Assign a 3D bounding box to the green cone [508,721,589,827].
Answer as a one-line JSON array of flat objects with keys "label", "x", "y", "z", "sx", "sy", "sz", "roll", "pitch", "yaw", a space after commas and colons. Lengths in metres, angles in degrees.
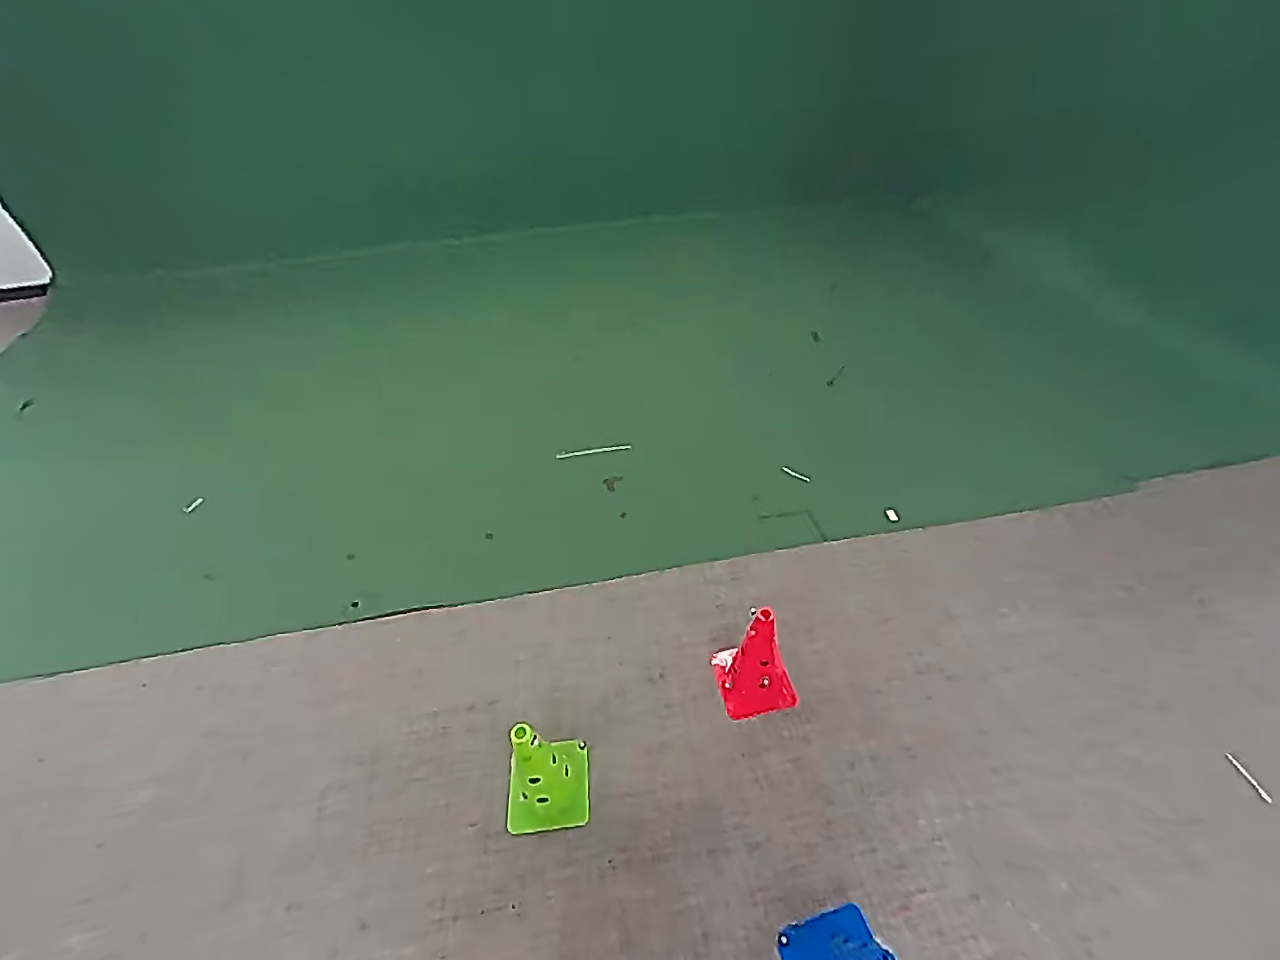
[{"label": "green cone", "x": -0.244, "y": 0.640, "z": 1.254, "sx": 0.200, "sy": 0.368, "sz": 0.202, "roll": -7, "pitch": 46, "yaw": -2}]
